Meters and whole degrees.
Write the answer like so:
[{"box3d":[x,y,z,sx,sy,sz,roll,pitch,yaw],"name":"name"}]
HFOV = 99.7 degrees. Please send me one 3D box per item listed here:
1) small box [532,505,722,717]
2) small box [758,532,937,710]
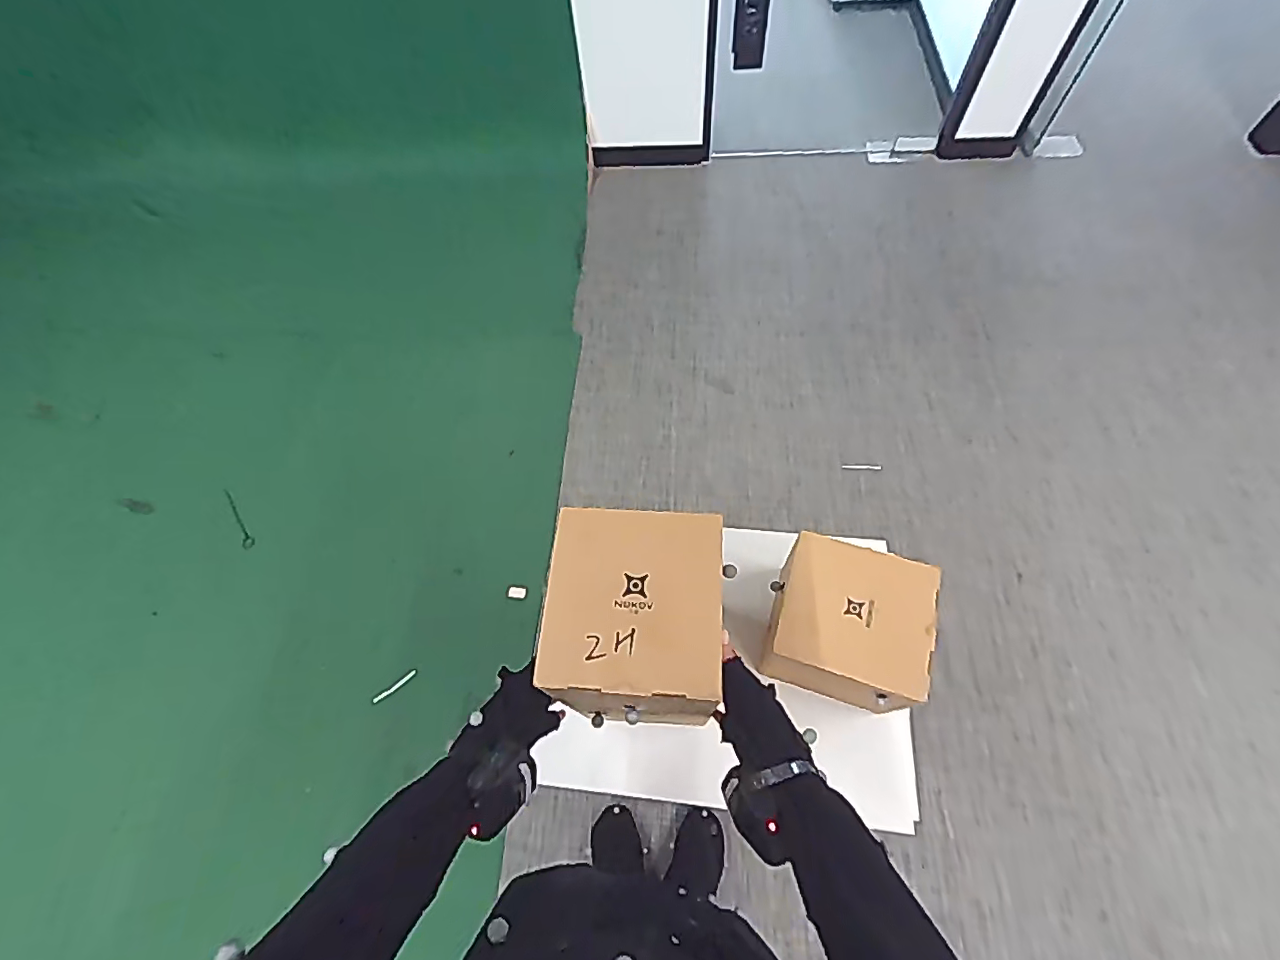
[{"box3d":[-0.004,0.144,0.576,0.168,0.176,0.179,3,62,5],"name":"small box"},{"box3d":[0.264,0.194,0.720,0.179,0.176,0.168,15,65,12],"name":"small box"}]
